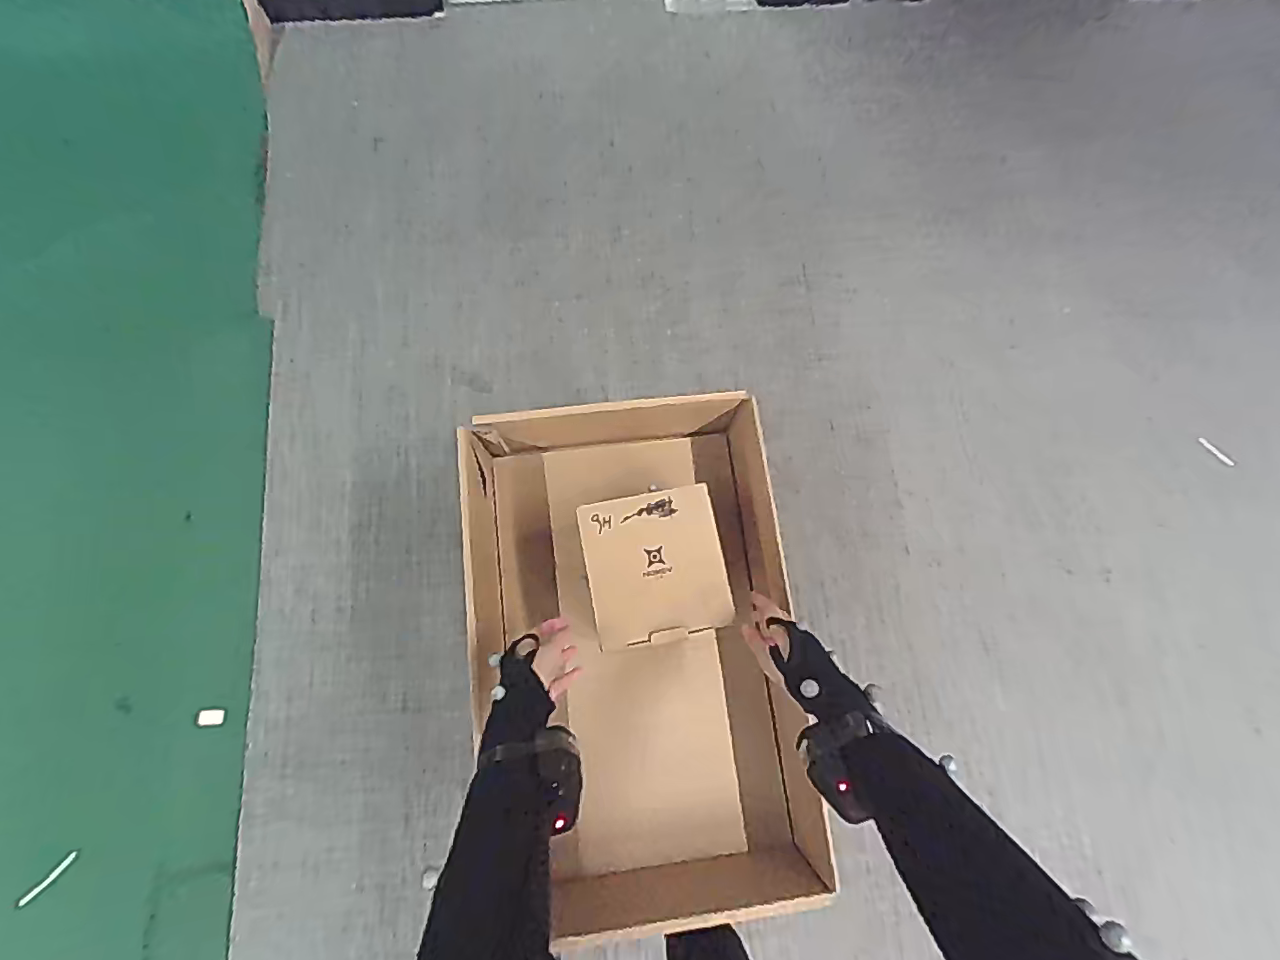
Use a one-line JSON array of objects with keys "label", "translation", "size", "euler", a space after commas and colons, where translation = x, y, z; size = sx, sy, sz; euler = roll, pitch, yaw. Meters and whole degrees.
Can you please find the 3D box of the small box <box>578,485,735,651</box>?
[{"label": "small box", "translation": [0.015, 0.116, 0.724], "size": [0.168, 0.176, 0.179], "euler": [-10, 80, -6]}]
